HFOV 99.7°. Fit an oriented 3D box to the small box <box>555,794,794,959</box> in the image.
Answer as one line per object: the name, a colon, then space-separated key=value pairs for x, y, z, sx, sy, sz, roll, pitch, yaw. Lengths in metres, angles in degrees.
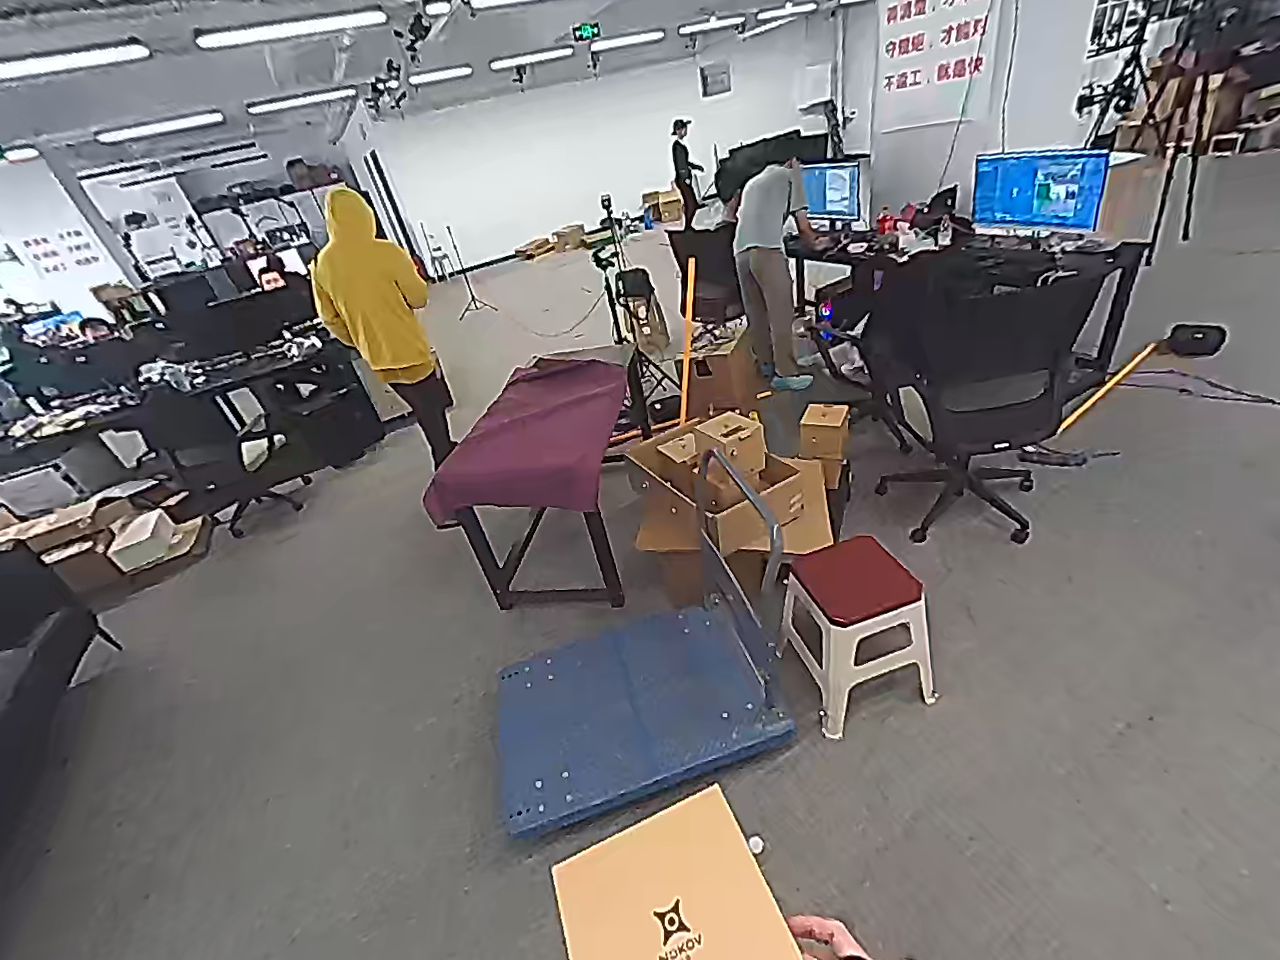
small box: x=0.039 y=0.426 z=0.472 sx=0.168 sy=0.176 sz=0.179 roll=-20 pitch=36 yaw=-9
